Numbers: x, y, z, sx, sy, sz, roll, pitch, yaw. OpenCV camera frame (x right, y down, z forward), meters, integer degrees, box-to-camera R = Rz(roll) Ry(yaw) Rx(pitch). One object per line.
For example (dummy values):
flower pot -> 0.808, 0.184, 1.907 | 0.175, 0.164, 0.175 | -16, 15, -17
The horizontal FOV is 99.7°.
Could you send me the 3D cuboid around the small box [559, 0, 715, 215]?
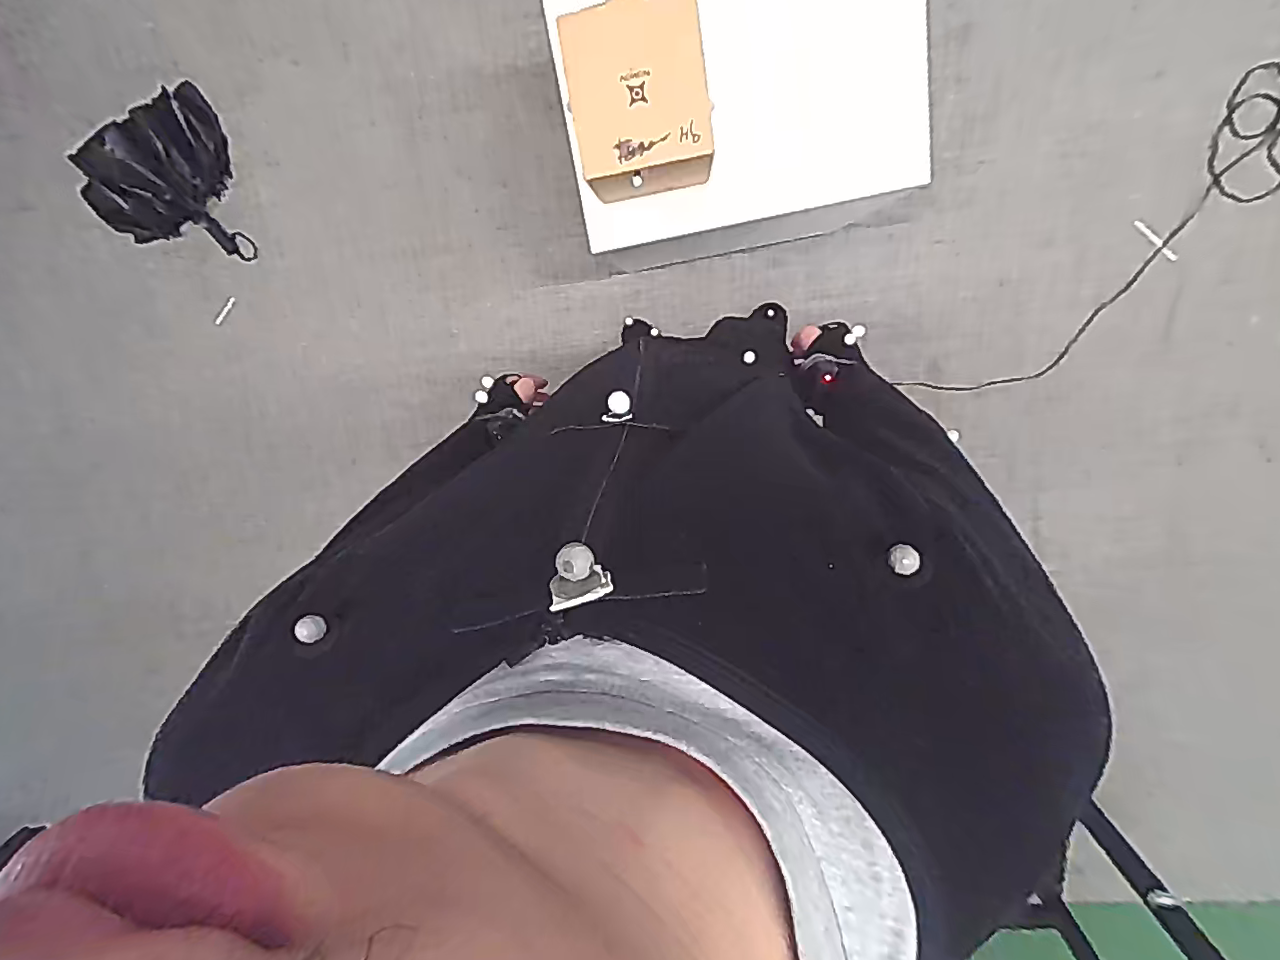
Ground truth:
small box -> 0.003, -0.478, 0.721 | 0.168, 0.176, 0.179 | -9, 105, 7
